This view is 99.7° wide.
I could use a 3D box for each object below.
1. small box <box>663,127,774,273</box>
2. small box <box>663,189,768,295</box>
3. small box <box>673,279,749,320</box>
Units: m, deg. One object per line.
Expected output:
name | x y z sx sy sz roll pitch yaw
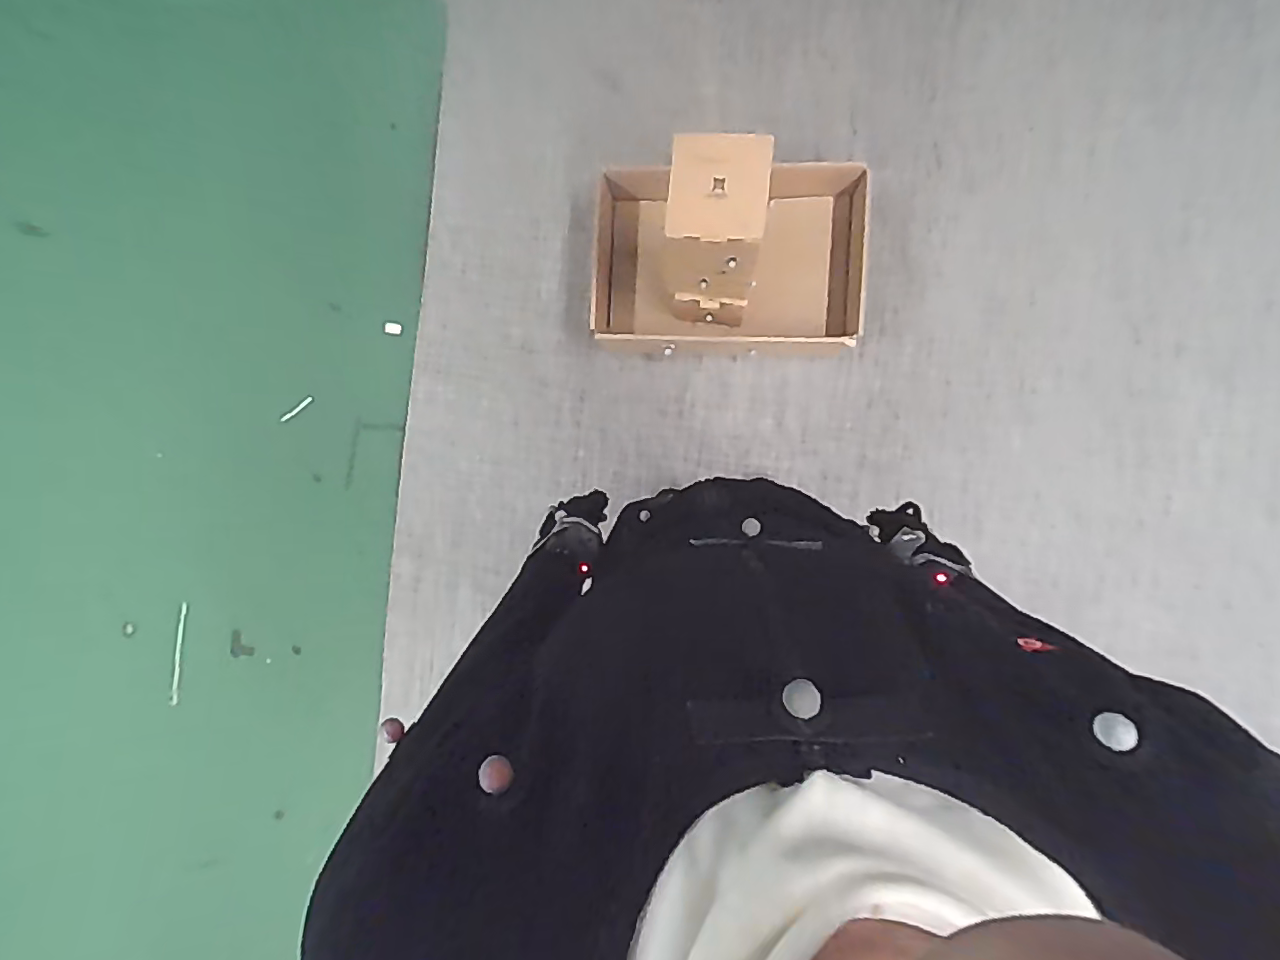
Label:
small box | 0.136 -0.487 0.964 0.168 0.176 0.179 6 90 5
small box | 0.155 -0.500 1.125 0.179 0.176 0.168 12 92 7
small box | 0.177 -0.493 1.288 0.168 0.176 0.179 9 93 6
